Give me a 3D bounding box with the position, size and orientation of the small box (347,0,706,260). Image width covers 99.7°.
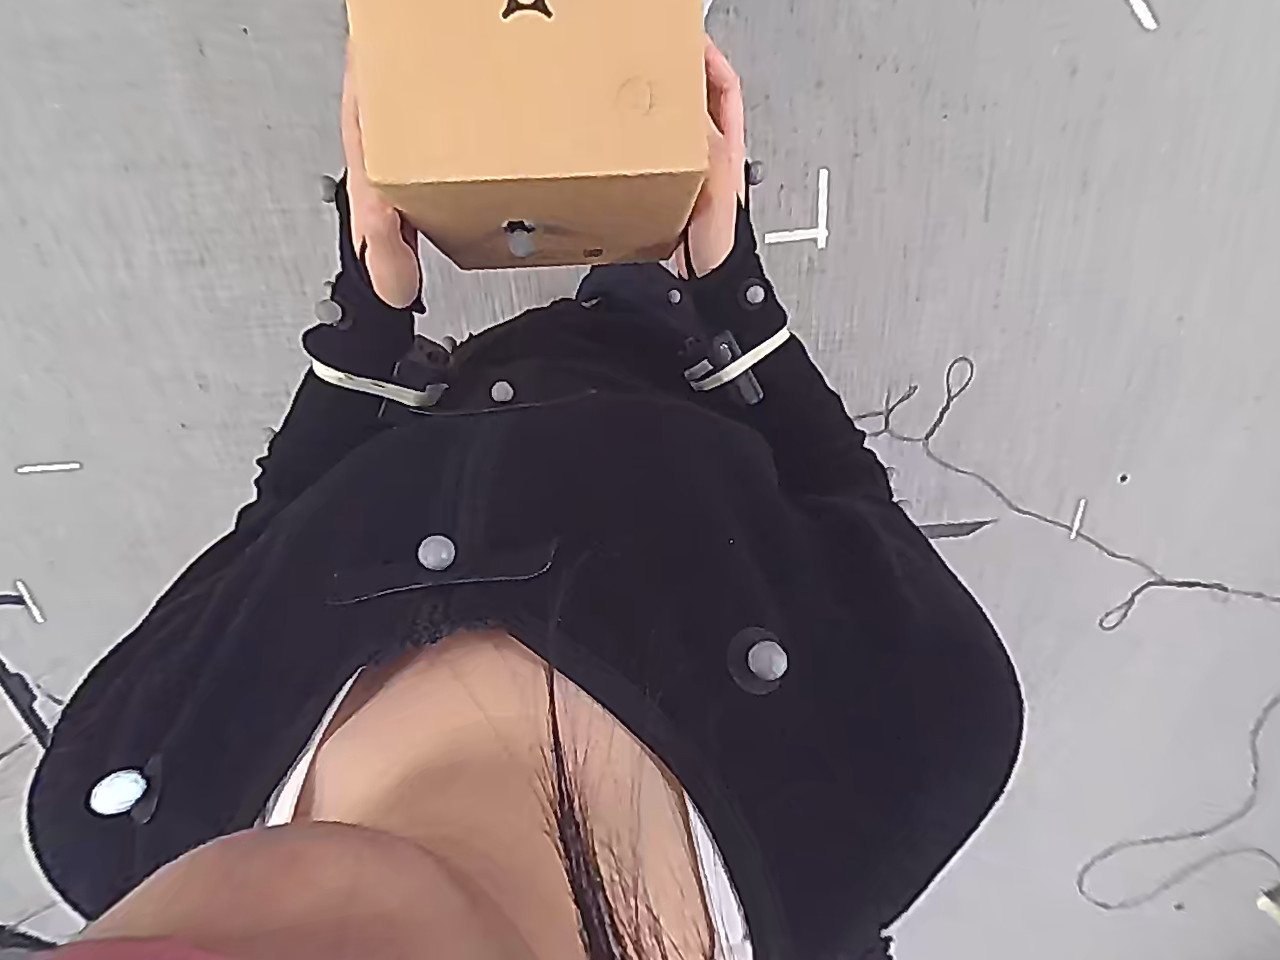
[{"bbox_3d":[-0.056,-0.242,0.328,0.168,0.176,0.179,-5,97,-3],"label":"small box"}]
